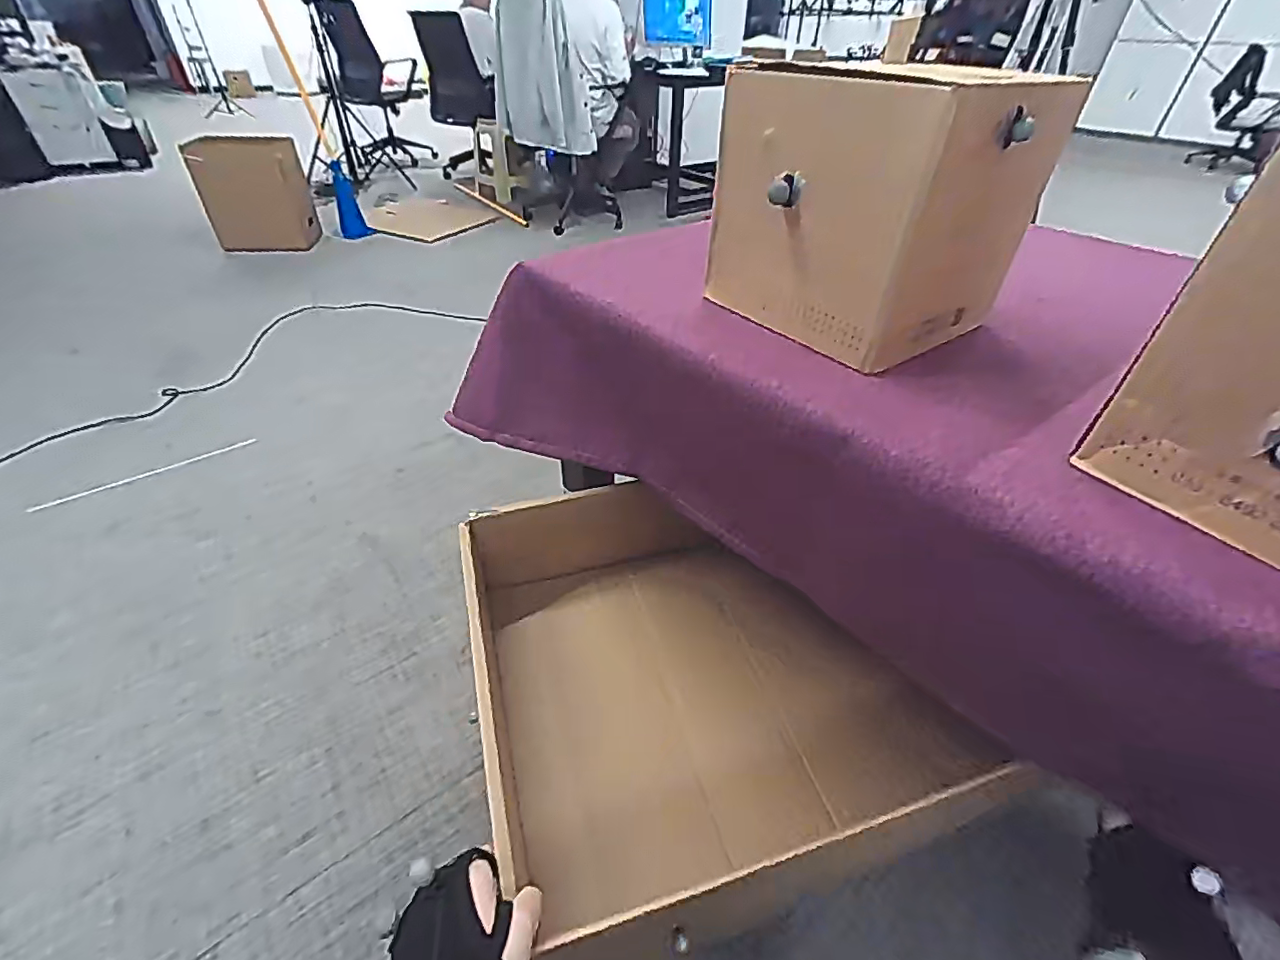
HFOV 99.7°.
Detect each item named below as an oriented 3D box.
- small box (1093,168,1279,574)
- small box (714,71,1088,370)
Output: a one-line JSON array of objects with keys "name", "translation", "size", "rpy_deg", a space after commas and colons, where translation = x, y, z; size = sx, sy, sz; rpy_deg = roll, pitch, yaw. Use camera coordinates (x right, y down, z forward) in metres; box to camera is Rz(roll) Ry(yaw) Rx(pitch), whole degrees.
[{"name": "small box", "translation": [0.358, -0.053, 0.236], "size": [0.179, 0.176, 0.168], "rpy_deg": [-22, 45, -24]}, {"name": "small box", "translation": [0.173, -0.205, 0.413], "size": [0.168, 0.176, 0.179], "rpy_deg": [-26, 46, -28]}]
